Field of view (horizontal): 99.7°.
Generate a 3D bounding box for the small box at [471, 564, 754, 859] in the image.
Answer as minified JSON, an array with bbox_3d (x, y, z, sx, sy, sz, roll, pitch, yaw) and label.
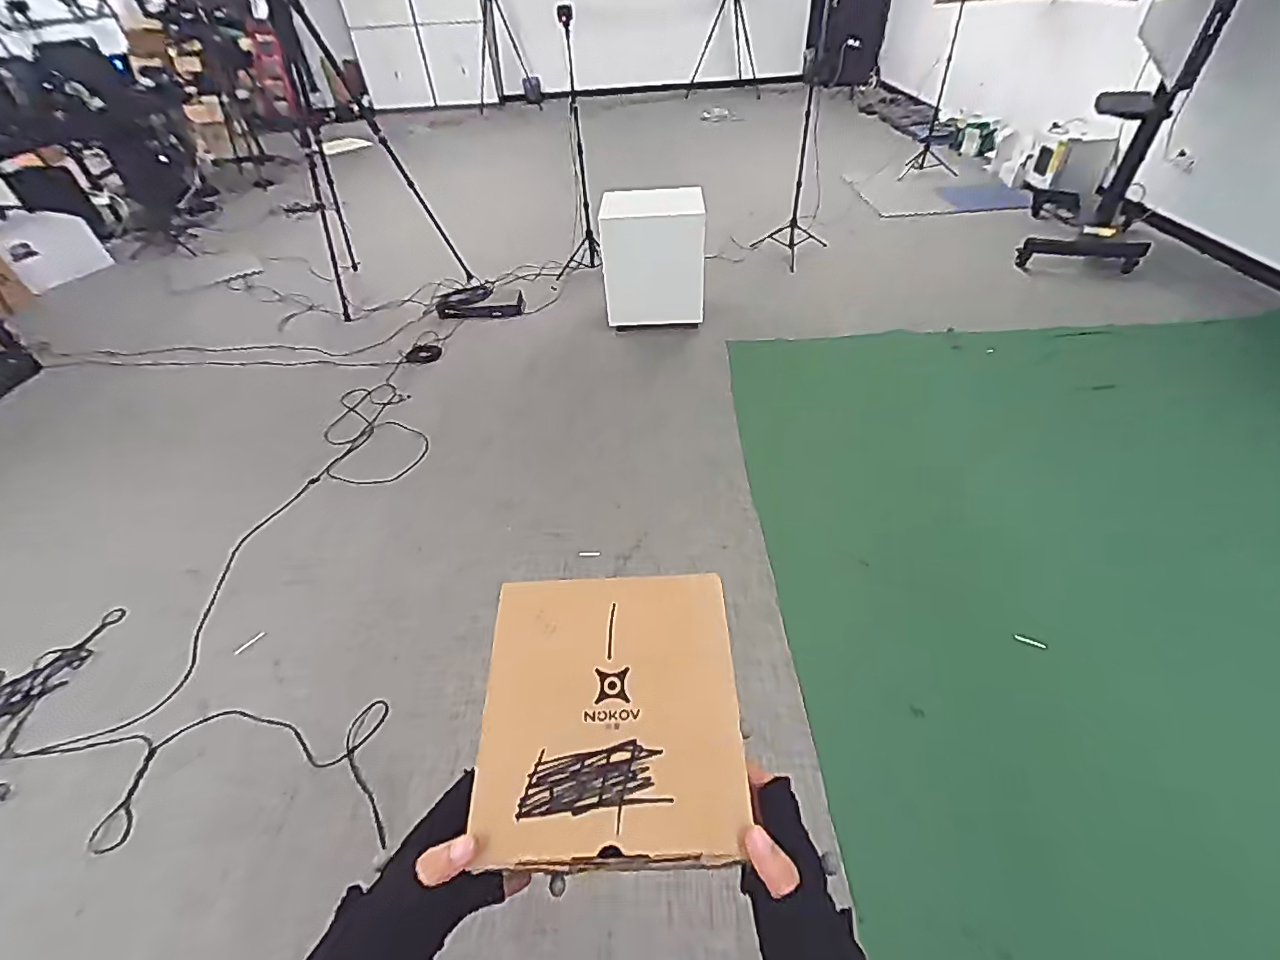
[{"bbox_3d":[-0.013,0.183,0.416,0.168,0.176,0.179,-2,52,1],"label":"small box"}]
